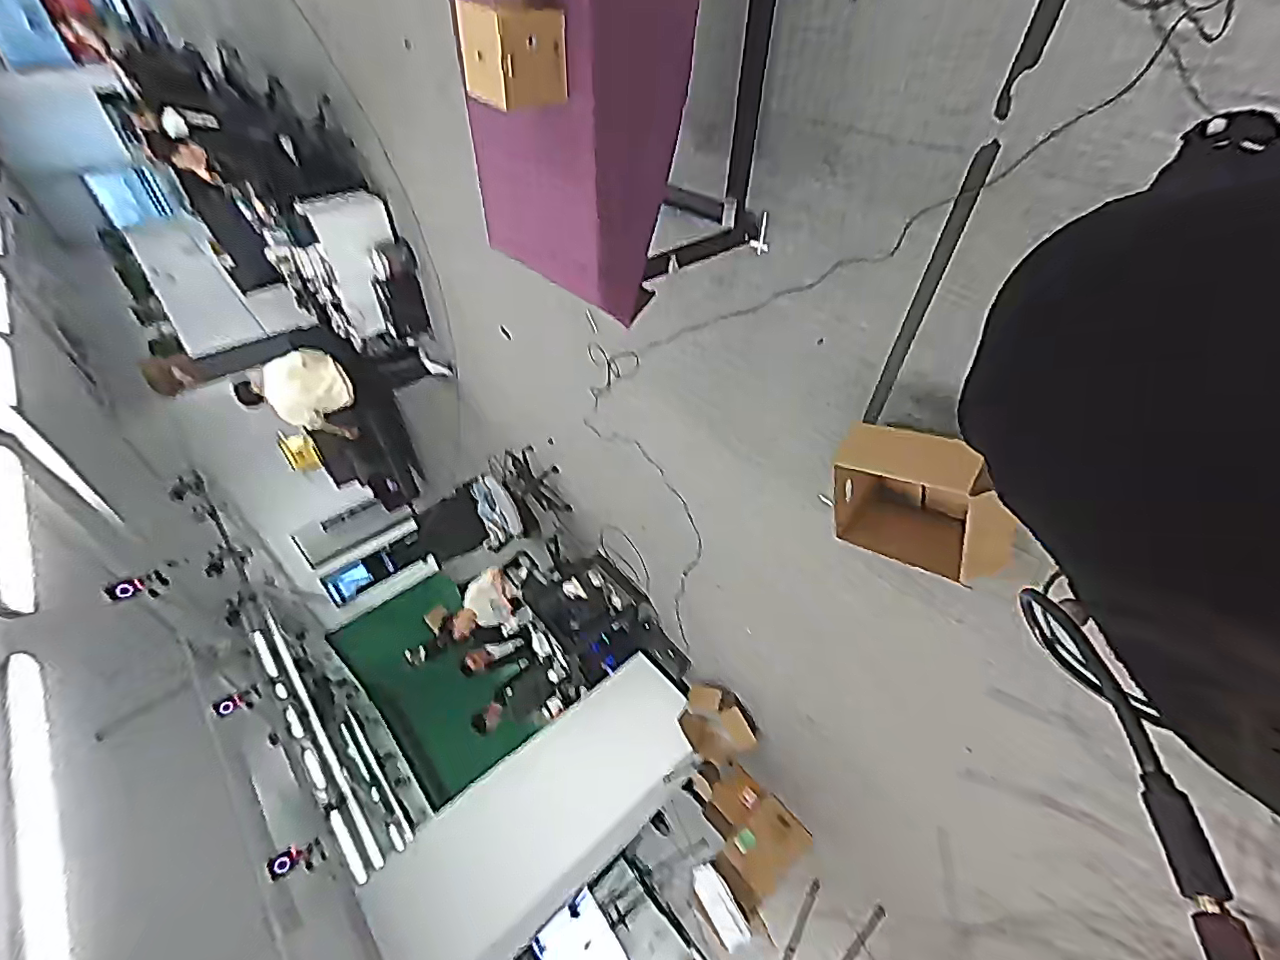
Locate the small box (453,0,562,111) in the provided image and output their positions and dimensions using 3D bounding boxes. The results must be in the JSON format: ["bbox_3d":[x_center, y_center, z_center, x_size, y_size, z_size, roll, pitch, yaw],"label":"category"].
[{"bbox_3d":[-0.286,-0.953,1.209,0.179,0.176,0.168,42,146,28],"label":"small box"}]
